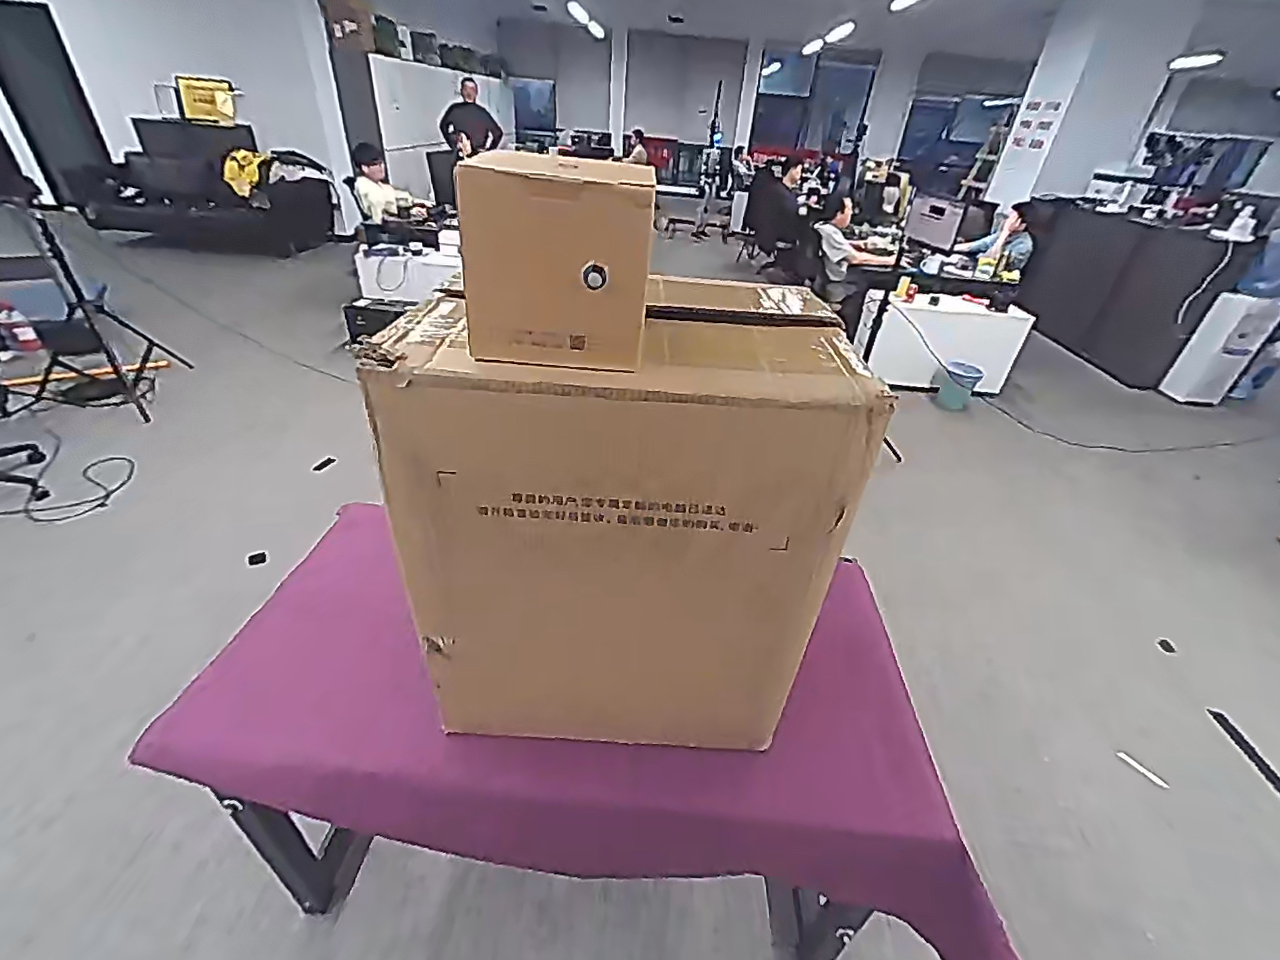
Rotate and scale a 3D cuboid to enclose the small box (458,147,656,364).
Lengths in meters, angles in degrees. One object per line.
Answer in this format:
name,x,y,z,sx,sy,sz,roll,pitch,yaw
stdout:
small box,-0.073,-0.230,0.551,0.168,0.176,0.179,5,33,-3
